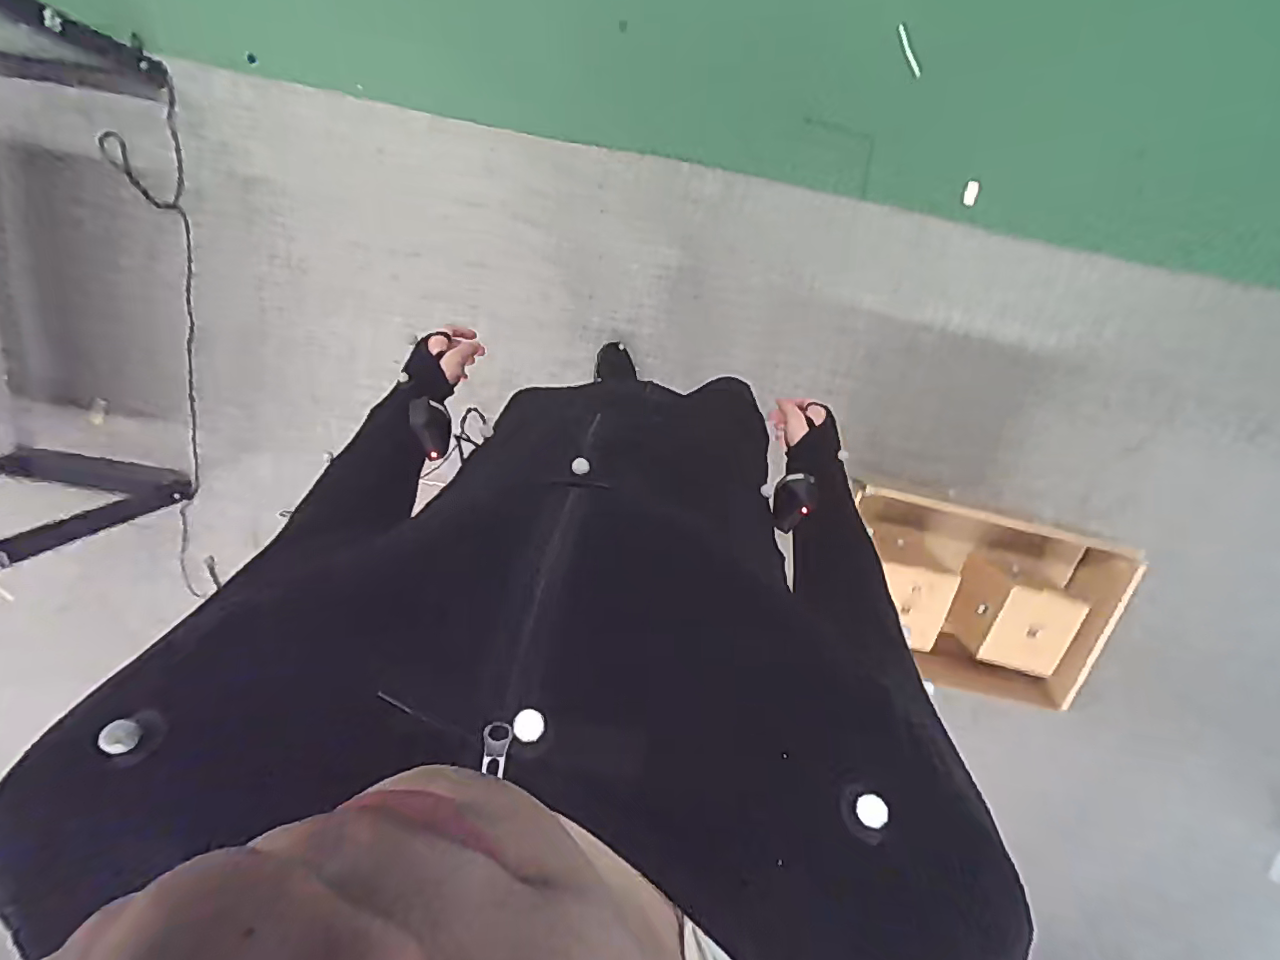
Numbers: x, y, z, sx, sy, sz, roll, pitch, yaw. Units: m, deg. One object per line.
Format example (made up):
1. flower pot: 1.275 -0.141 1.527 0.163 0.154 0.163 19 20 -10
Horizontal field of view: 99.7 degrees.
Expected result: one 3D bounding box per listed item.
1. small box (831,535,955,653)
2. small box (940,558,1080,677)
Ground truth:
1. small box: 0.537 0.243 1.181 0.168 0.176 0.179 12 105 -4
2. small box: 0.799 0.295 1.196 0.168 0.176 0.179 16 106 -3
